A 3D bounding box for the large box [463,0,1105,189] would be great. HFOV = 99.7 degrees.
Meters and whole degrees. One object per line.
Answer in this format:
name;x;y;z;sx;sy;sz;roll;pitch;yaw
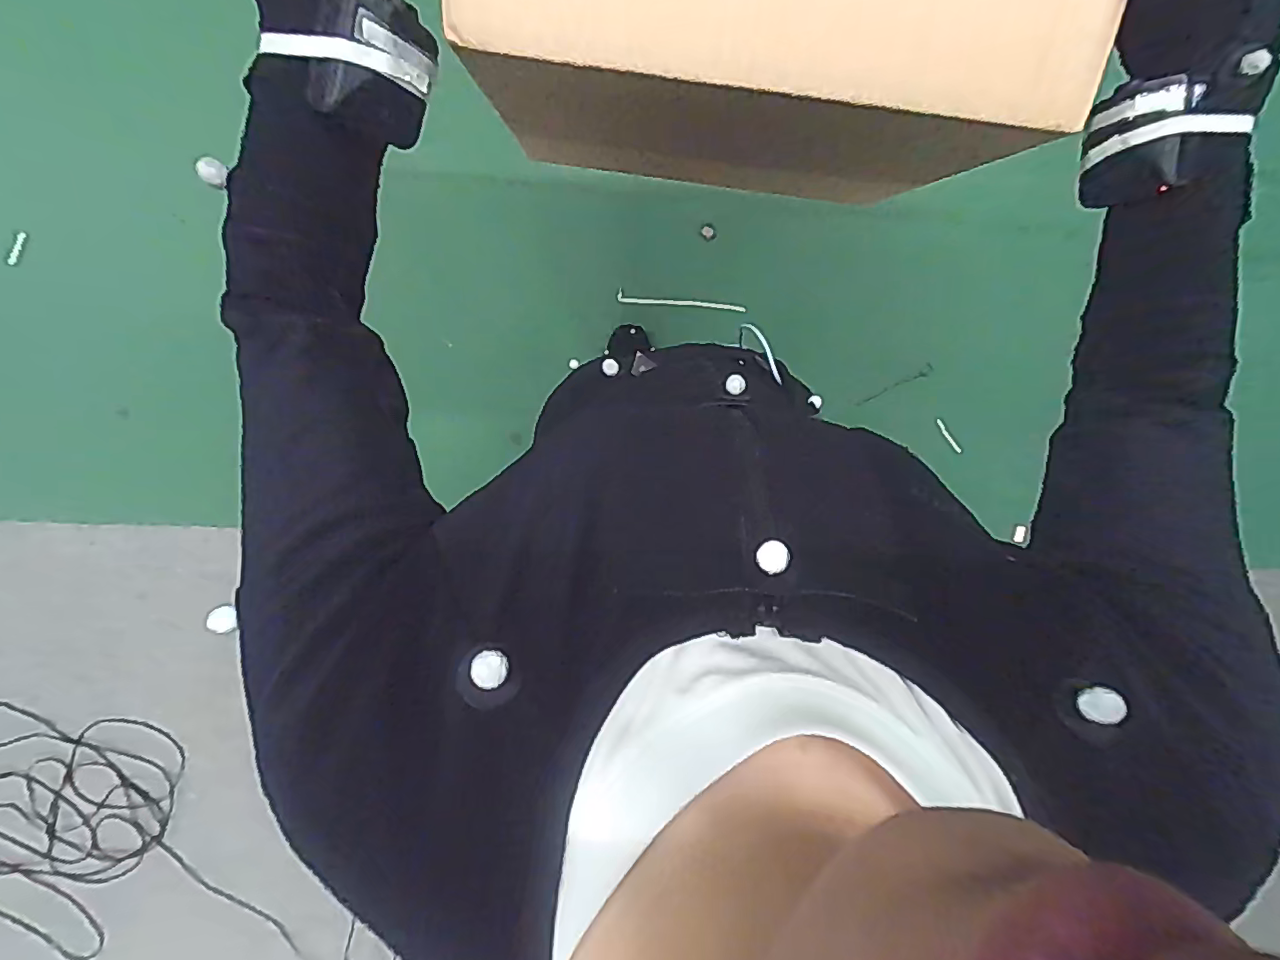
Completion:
large box;0.092;-0.448;0.432;0.408;0.320;0.320;4;110;-5
